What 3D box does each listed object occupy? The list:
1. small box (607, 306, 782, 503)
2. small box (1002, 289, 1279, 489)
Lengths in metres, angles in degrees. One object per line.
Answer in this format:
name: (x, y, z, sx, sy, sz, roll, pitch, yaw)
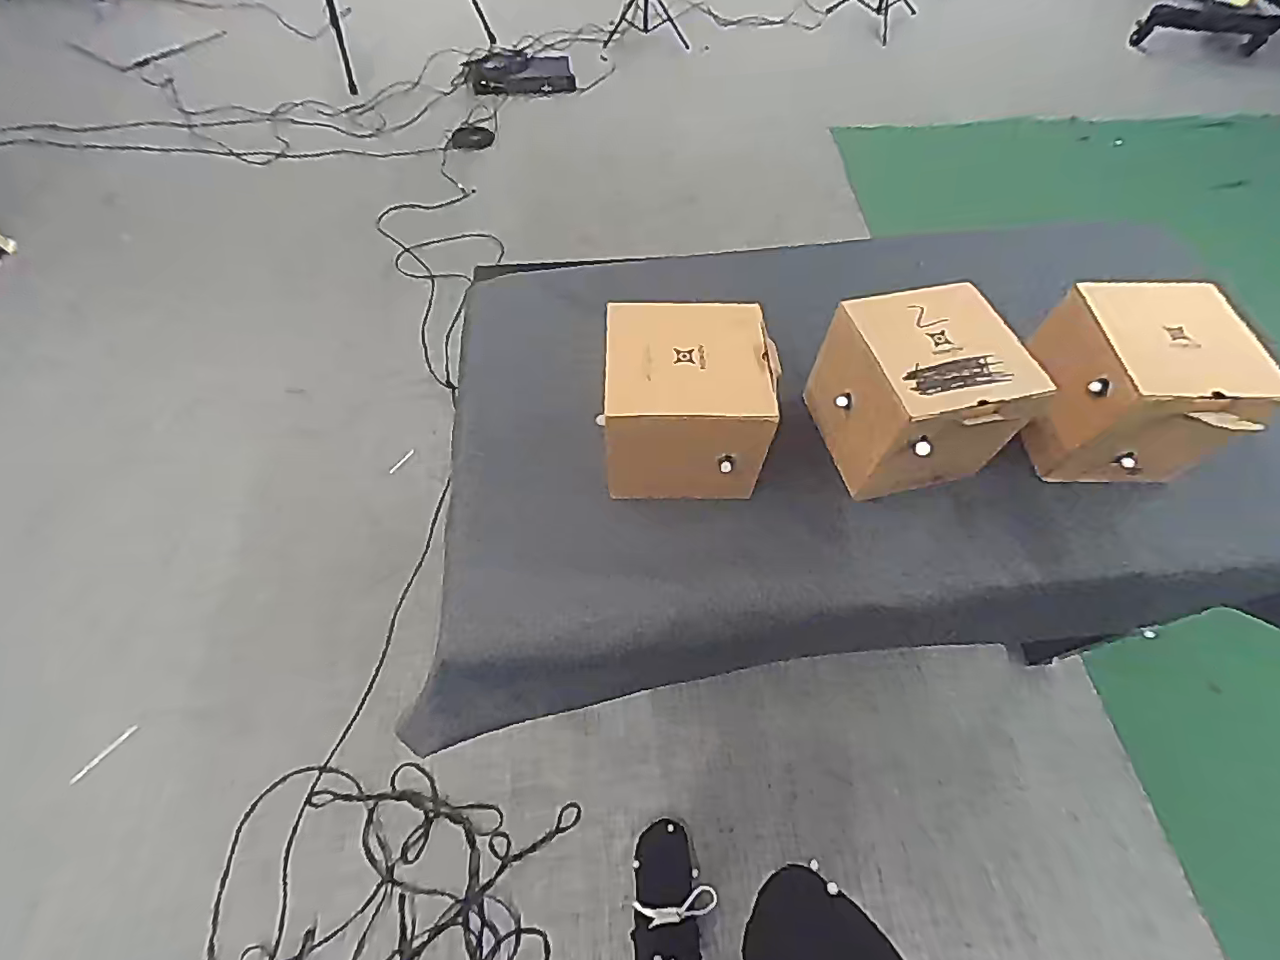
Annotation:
small box: (0.054, -0.083, 0.640, 0.179, 0.176, 0.168, 0, 57, 0)
small box: (0.590, -0.107, 0.663, 0.168, 0.176, 0.179, 1, 59, -1)
